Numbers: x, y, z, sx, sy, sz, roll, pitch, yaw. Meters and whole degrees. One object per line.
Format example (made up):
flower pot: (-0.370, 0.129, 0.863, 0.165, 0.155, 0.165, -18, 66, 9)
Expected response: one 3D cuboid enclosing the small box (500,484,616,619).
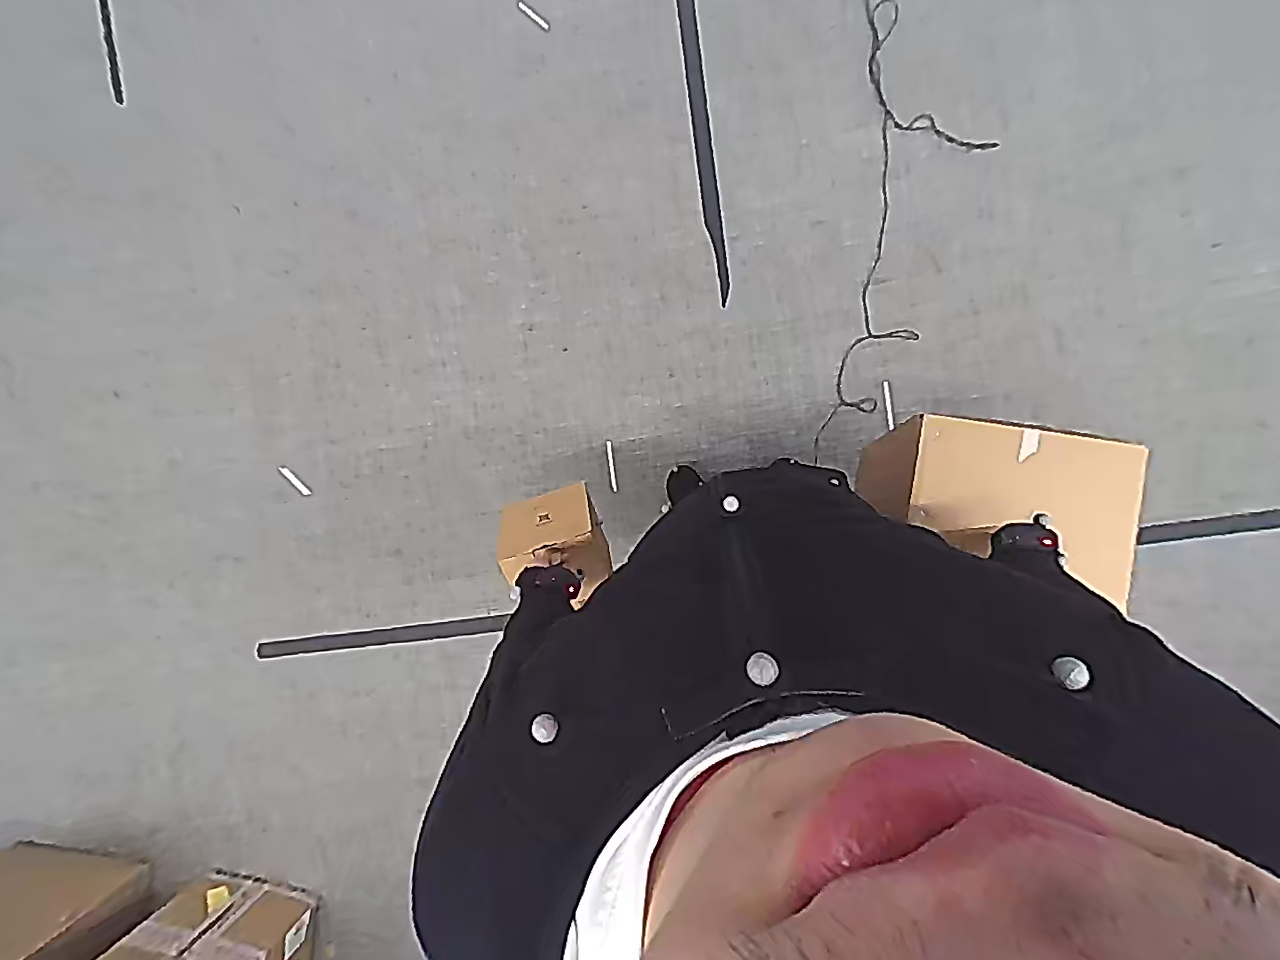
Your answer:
small box: (-0.151, 0.139, 1.017, 0.168, 0.179, 0.176, -17, 120, -1)
